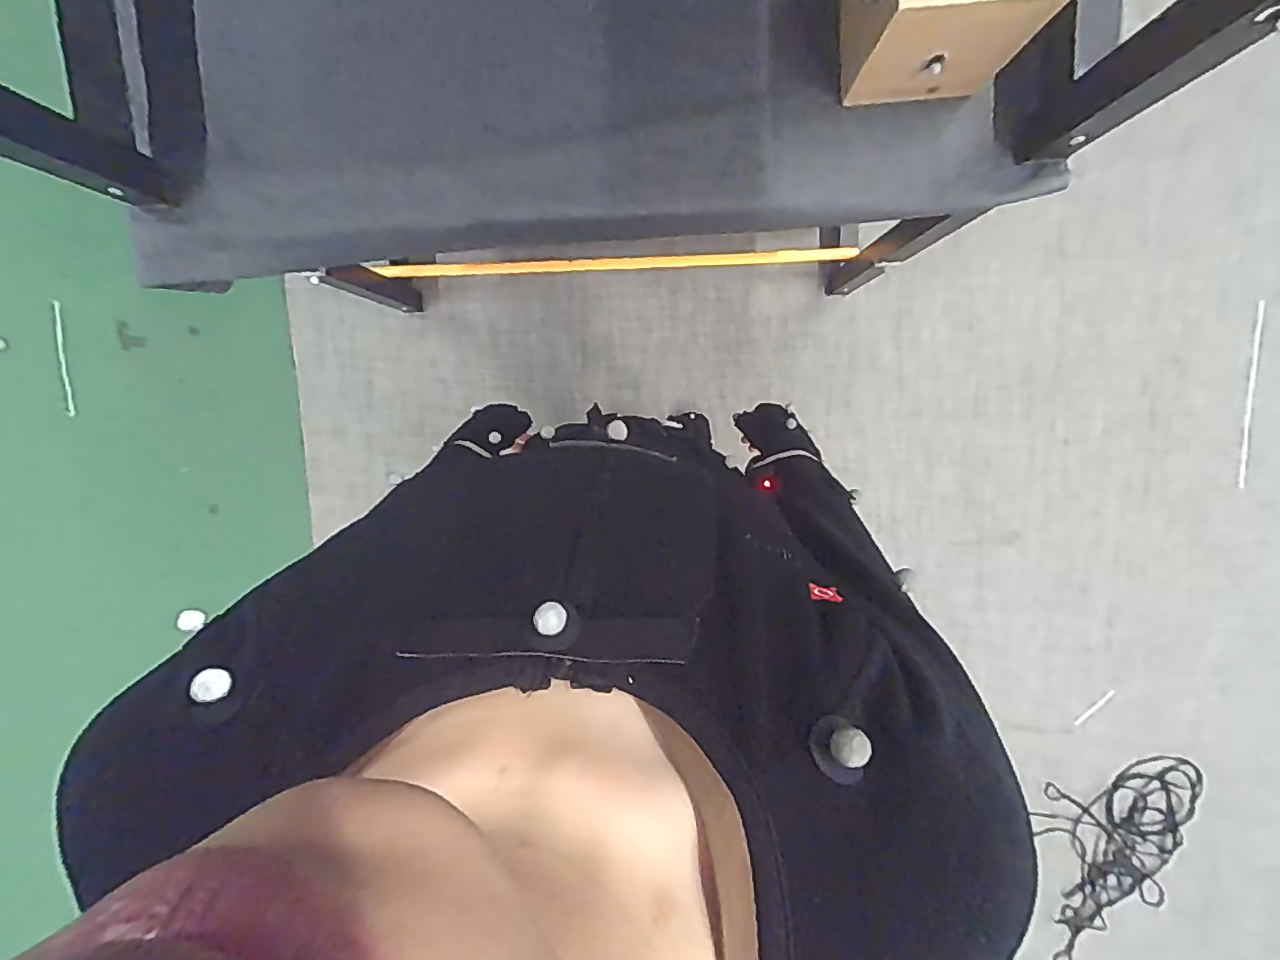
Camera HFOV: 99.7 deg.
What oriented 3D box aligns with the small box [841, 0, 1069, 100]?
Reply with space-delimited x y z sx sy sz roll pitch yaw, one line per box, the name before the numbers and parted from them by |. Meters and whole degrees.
small box | 0.326 -0.542 0.582 0.168 0.176 0.179 -3 97 2
